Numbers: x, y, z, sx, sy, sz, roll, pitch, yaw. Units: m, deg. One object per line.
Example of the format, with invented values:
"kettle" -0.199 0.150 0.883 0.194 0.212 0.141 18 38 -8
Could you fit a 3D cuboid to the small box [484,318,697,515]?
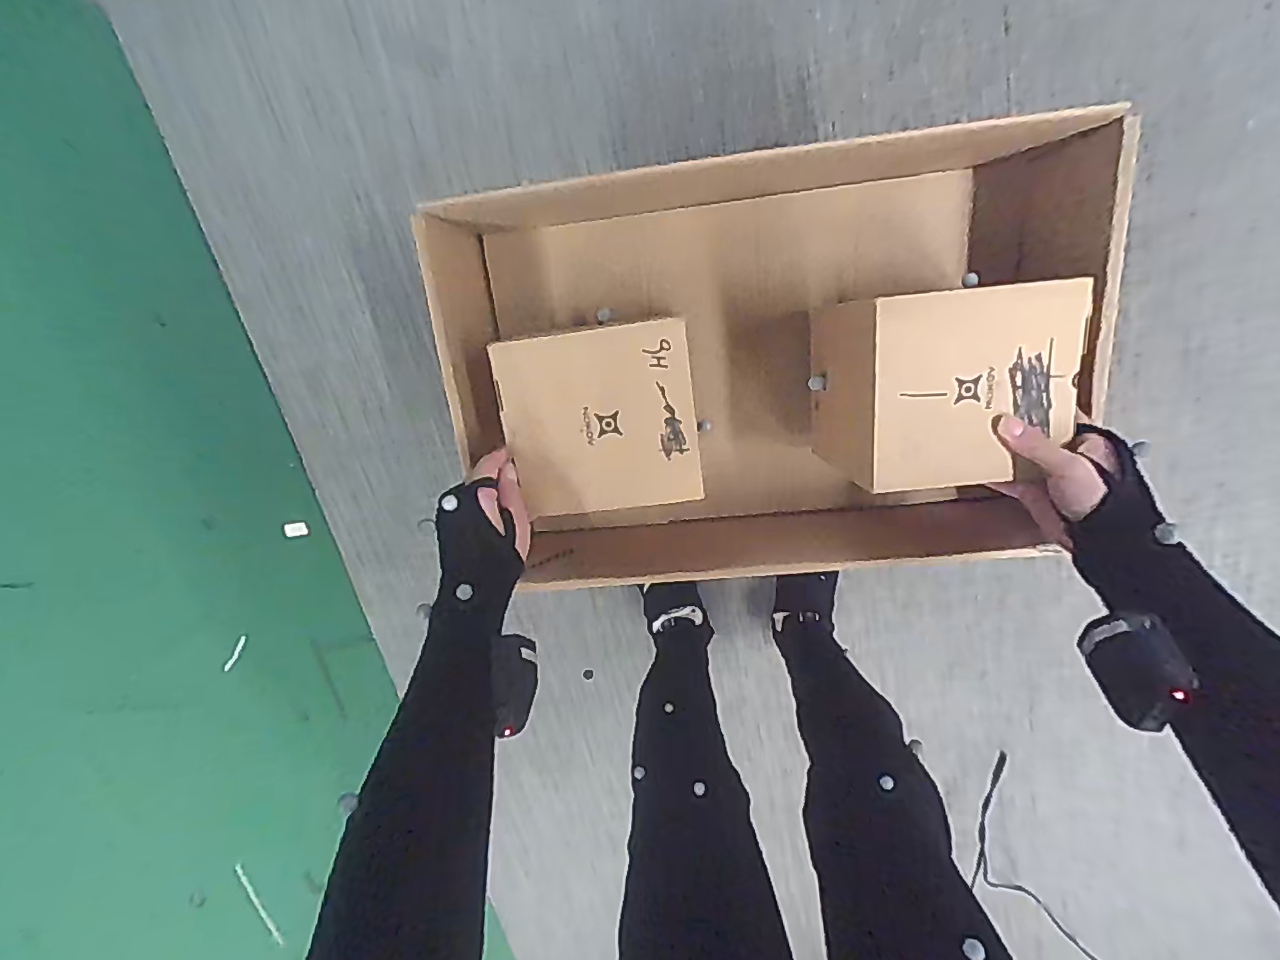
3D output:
"small box" -0.036 -0.074 0.565 0.179 0.176 0.168 -6 107 8
